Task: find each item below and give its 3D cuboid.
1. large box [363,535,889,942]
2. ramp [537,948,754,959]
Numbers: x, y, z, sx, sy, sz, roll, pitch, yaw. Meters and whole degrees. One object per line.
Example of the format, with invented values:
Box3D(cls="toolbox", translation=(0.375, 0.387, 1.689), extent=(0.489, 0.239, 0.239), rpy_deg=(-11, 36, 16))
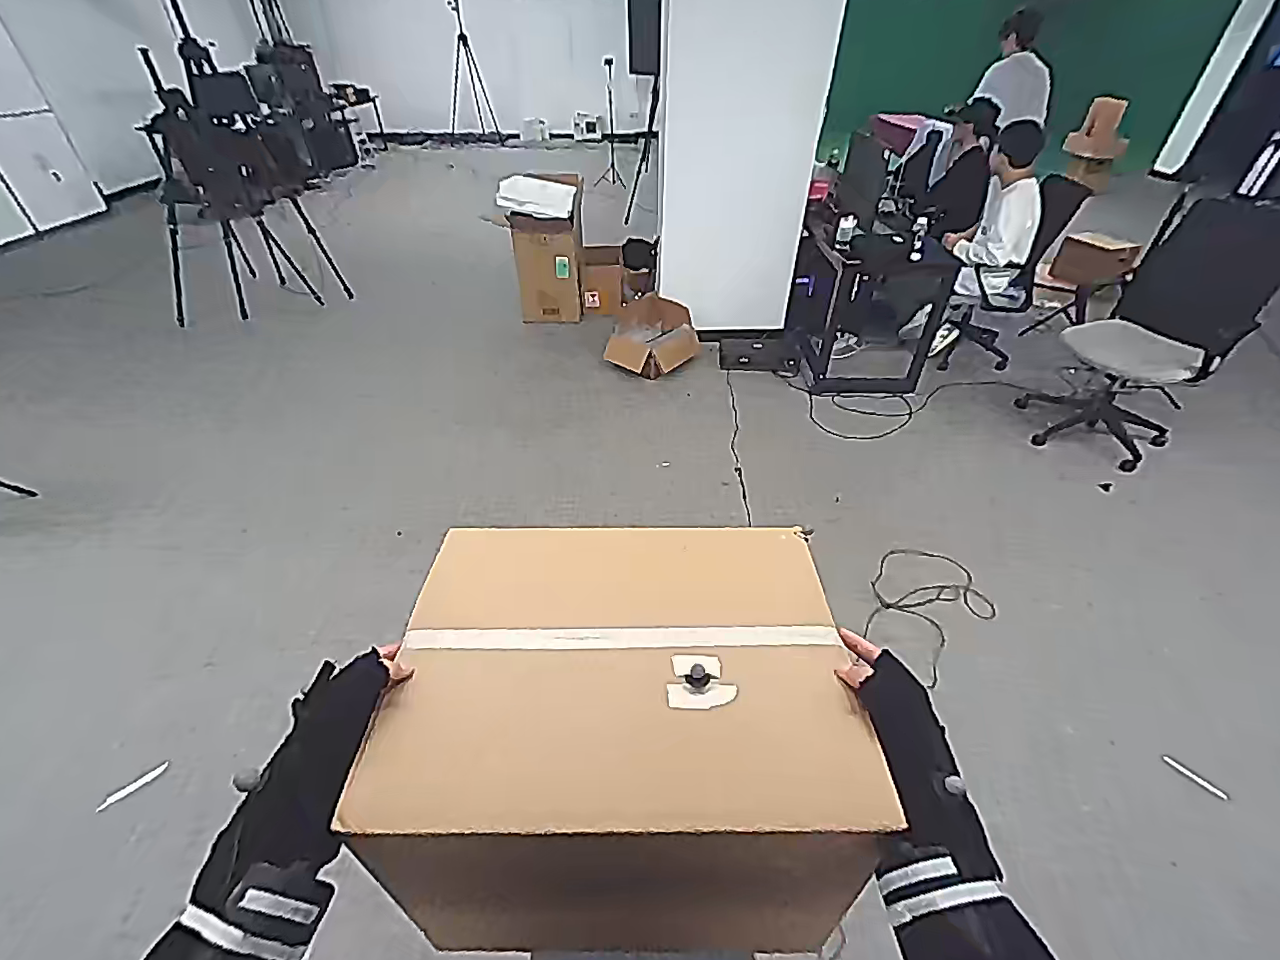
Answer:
Box3D(cls="large box", translation=(-0.012, 0.277, 0.607), extent=(0.408, 0.320, 0.320), rpy_deg=(0, 37, 0))
Box3D(cls="ramp", translation=(0.008, 1.301, 0.782), extent=(0.509, 0.206, 0.991), rpy_deg=(-2, 39, 0))
